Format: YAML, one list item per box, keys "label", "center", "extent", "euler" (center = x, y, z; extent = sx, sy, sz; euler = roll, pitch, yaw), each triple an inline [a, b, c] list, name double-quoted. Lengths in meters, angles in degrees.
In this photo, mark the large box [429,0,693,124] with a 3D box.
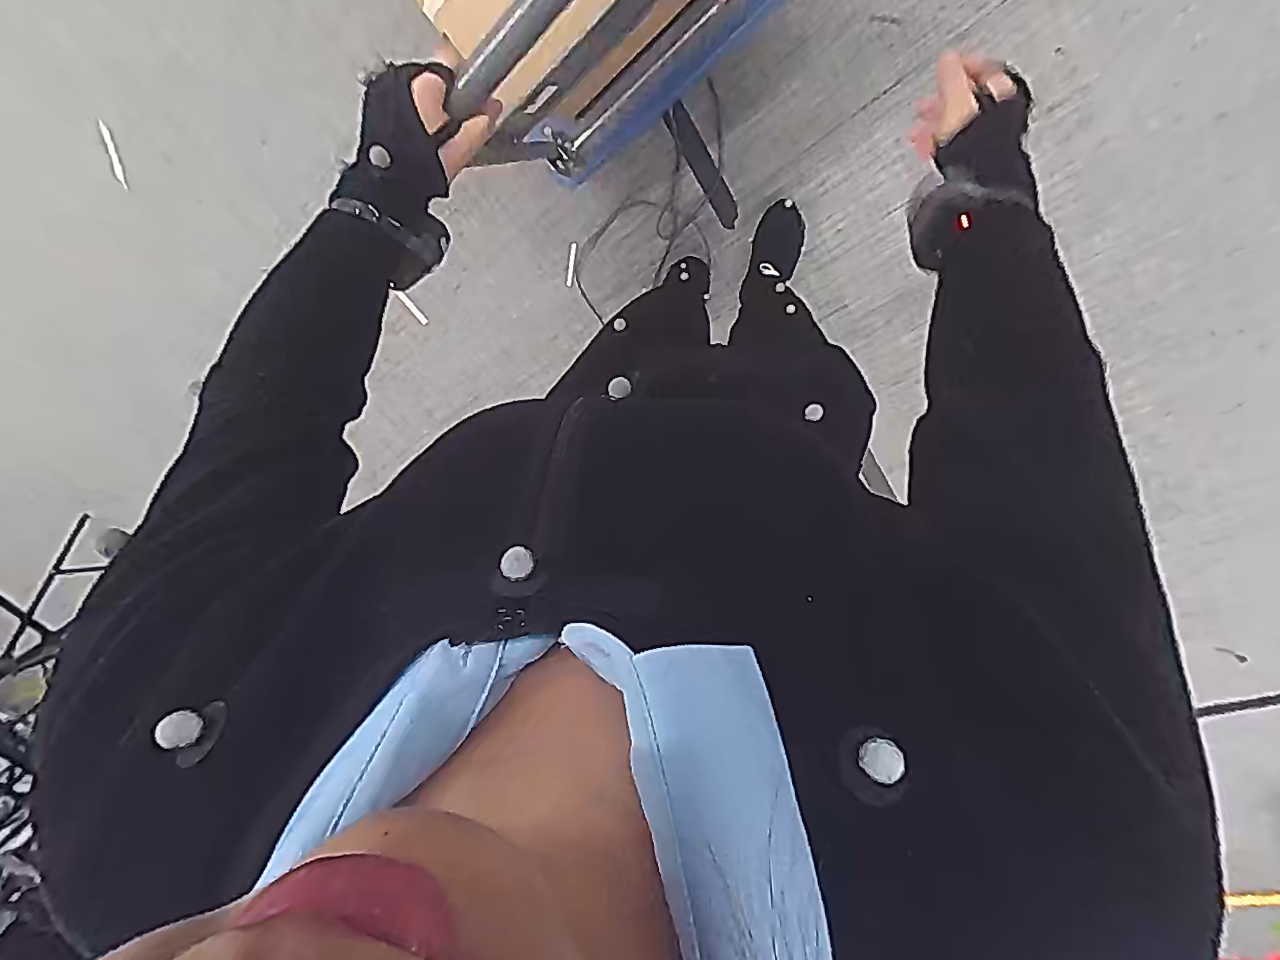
- label: "large box"
  center: [-0.098, -0.809, 0.786]
  extent: [0.408, 0.320, 0.320]
  euler: [-29, 111, 27]
